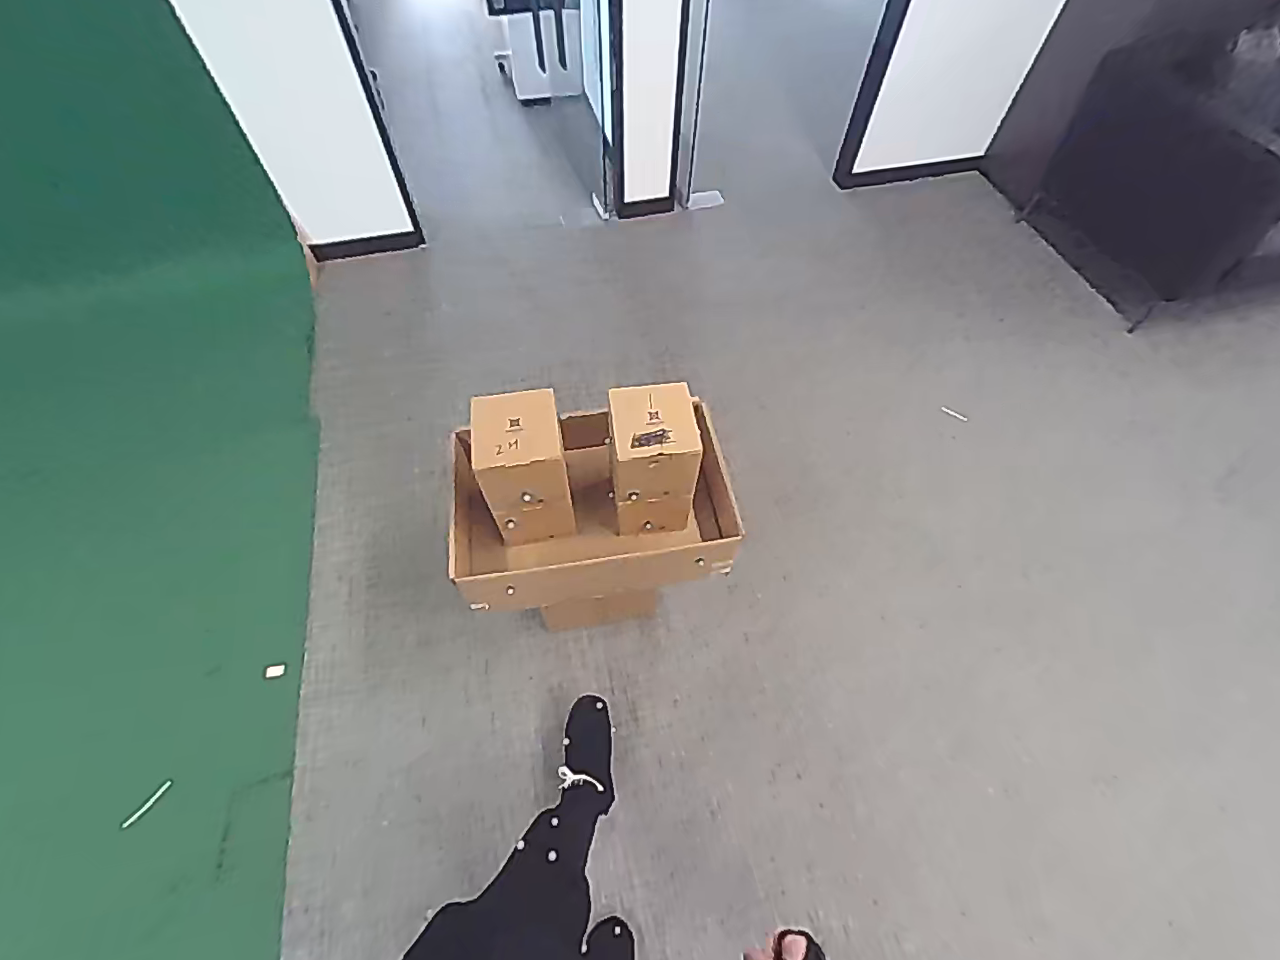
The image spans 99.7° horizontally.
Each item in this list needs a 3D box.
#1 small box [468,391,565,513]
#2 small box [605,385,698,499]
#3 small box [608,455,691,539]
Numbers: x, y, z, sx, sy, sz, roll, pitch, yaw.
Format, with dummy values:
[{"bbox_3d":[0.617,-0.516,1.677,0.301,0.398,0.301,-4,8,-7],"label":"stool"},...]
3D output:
[{"bbox_3d":[-0.246,-0.054,1.096,0.168,0.176,0.179,-8,58,-6],"label":"small box"},{"bbox_3d":[0.019,-0.071,1.116,0.168,0.176,0.179,-6,58,-5],"label":"small box"},{"bbox_3d":[0.015,0.018,1.254,0.168,0.176,0.179,-6,59,-6],"label":"small box"}]
